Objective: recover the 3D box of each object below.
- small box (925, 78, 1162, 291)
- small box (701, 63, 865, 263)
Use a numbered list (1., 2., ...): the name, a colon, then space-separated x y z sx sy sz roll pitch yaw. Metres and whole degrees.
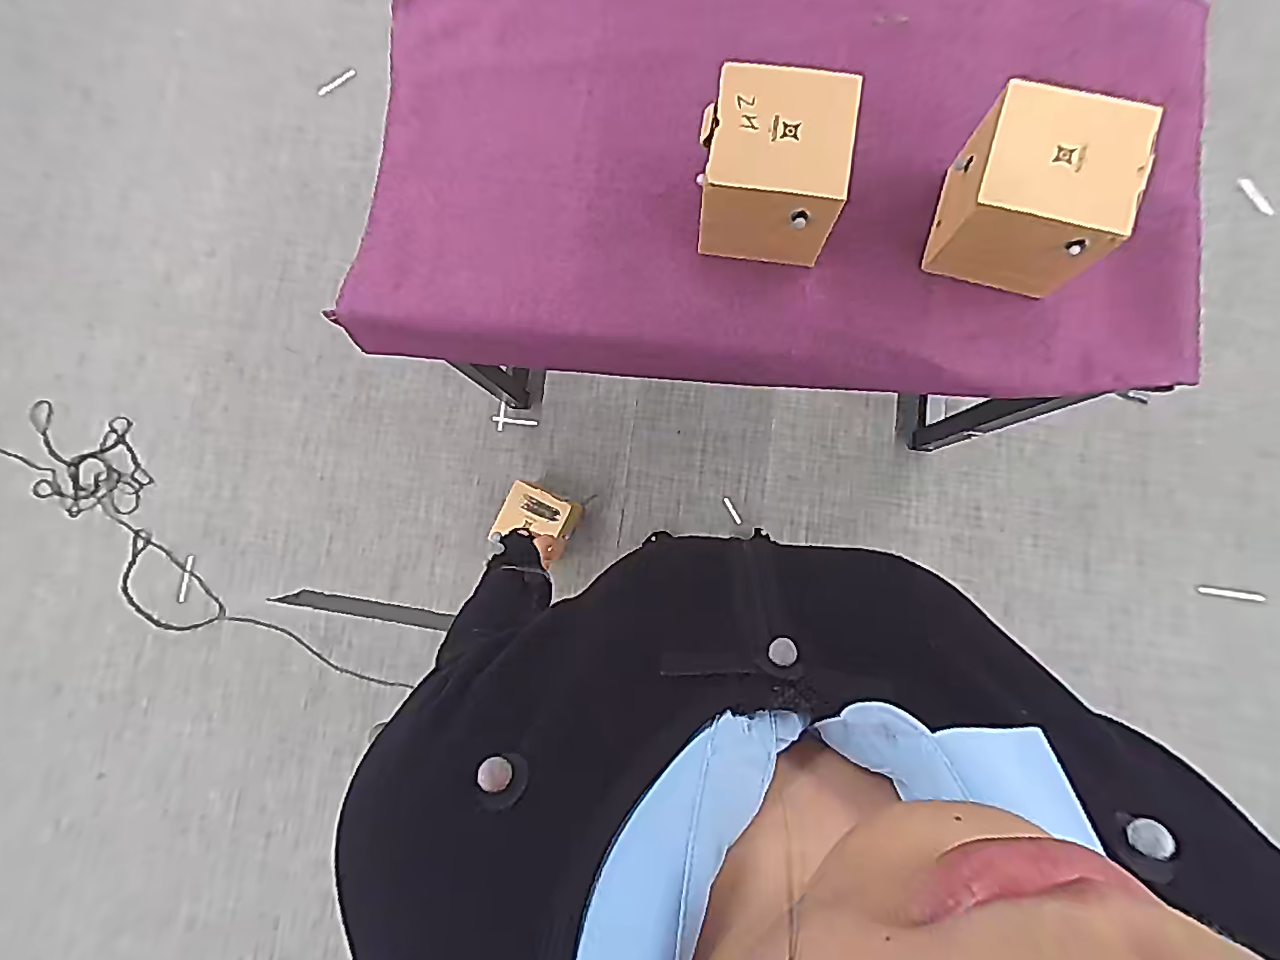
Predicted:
1. small box: 0.510 -0.373 0.712 0.179 0.176 0.168 16 86 6
2. small box: 0.184 -0.420 0.742 0.179 0.176 0.168 9 84 5
